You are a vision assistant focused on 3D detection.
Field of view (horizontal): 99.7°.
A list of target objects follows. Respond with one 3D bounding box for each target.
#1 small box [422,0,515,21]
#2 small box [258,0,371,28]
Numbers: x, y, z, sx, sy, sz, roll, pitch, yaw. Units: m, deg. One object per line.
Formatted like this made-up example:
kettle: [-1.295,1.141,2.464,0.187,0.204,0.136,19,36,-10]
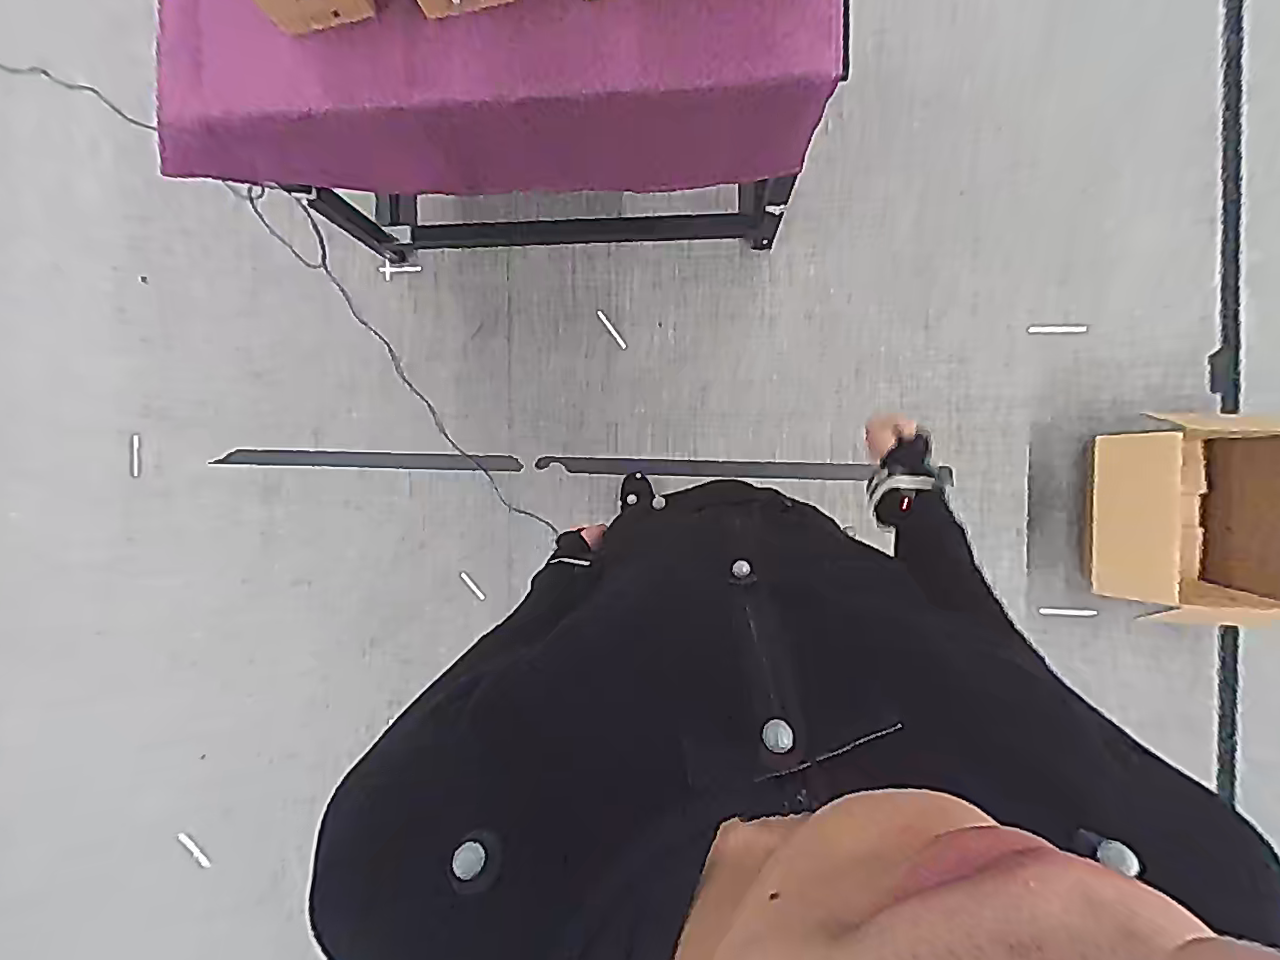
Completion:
small box: [-0.302,-0.877,0.837,0.168,0.176,0.179,-9,90,6]
small box: [-0.554,-0.868,0.858,0.168,0.176,0.179,-8,90,5]
